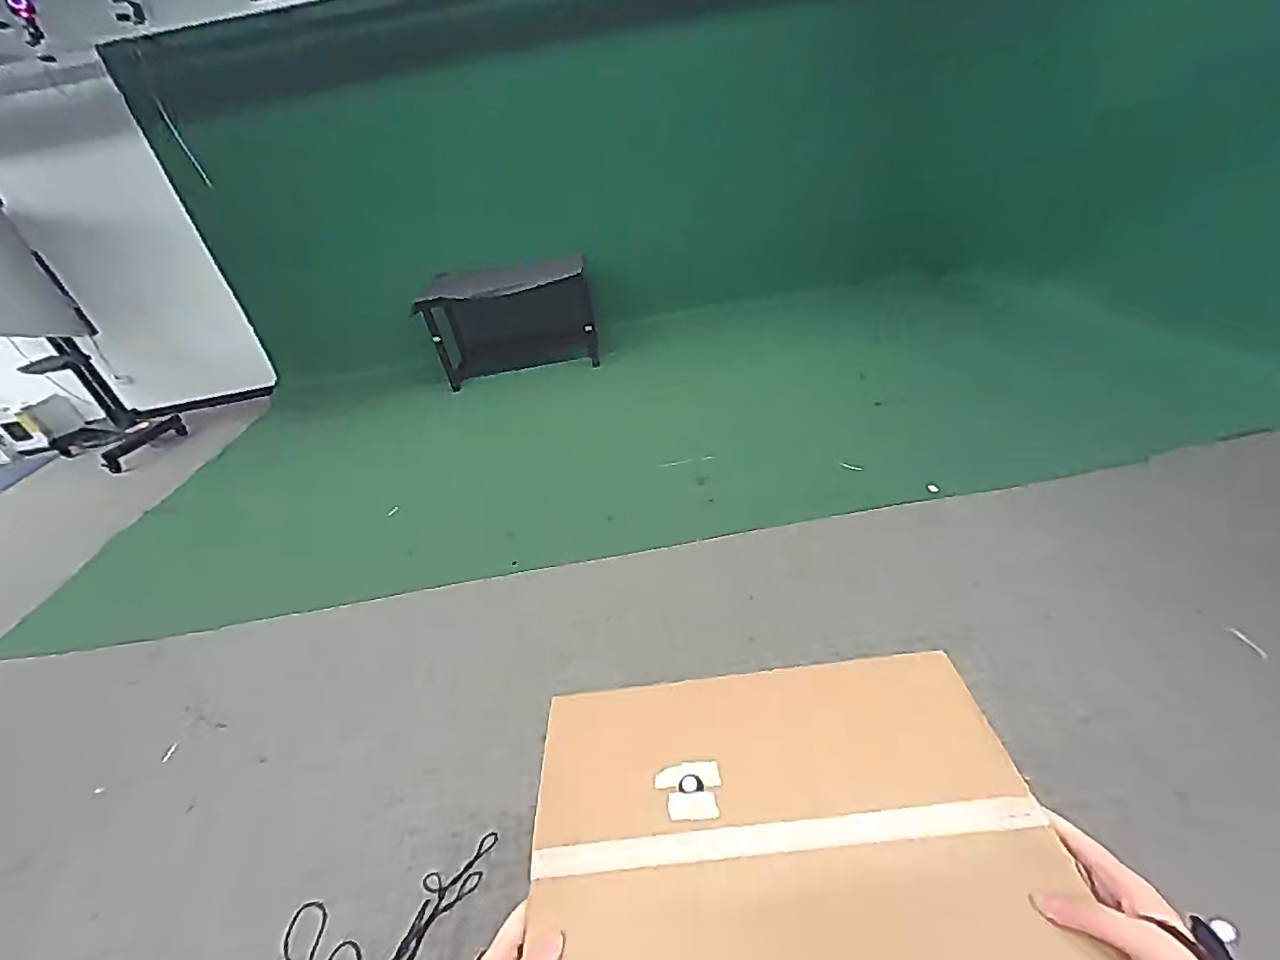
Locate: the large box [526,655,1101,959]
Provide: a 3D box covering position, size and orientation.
[{"bbox_3d":[0.136,0.418,0.526,0.408,0.320,0.320,-10,34,5],"label":"large box"}]
